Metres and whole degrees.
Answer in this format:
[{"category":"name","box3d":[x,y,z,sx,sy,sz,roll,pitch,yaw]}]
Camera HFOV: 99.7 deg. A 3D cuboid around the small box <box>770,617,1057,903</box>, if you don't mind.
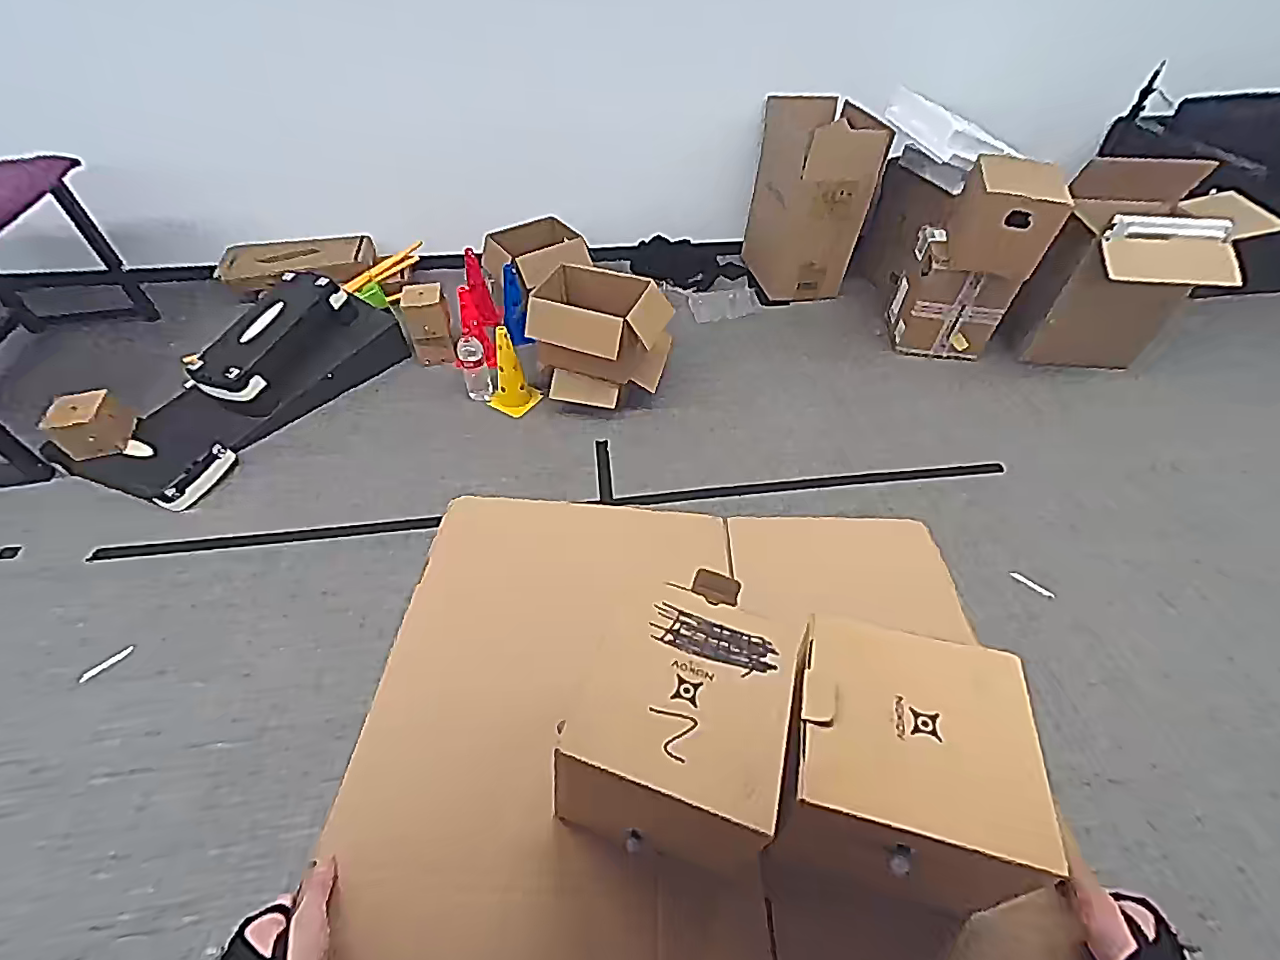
[{"category":"small box","box3d":[0.226,0.256,0.495,0.179,0.176,0.168,10,45,13]}]
